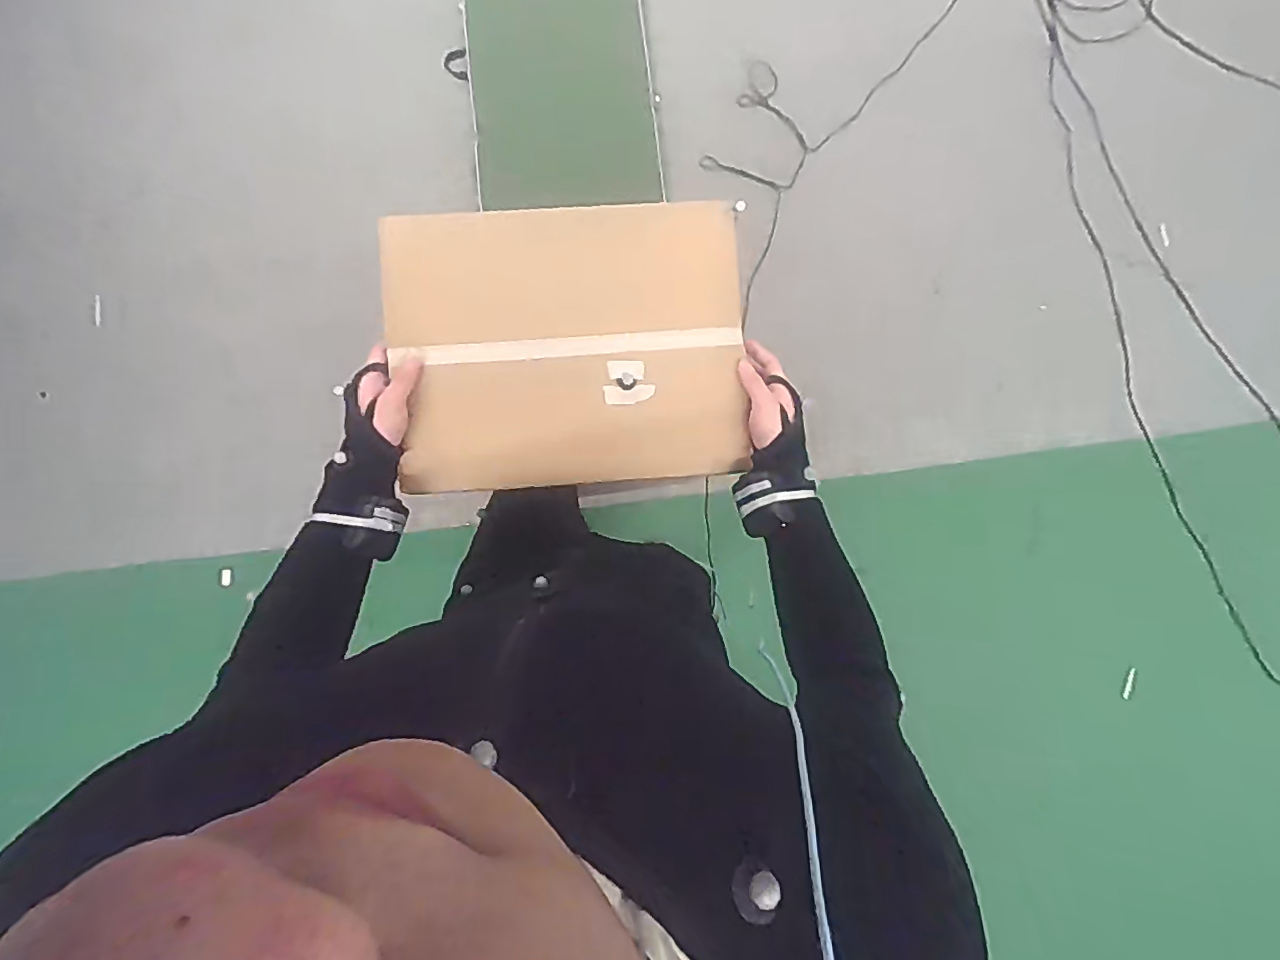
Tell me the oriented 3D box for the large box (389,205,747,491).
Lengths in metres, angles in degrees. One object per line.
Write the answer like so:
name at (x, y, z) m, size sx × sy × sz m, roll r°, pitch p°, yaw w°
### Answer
large box at (-0.088, -0.160, 0.780) m, size 0.408 × 0.320 × 0.320 m, roll -4°, pitch 93°, yaw -2°
